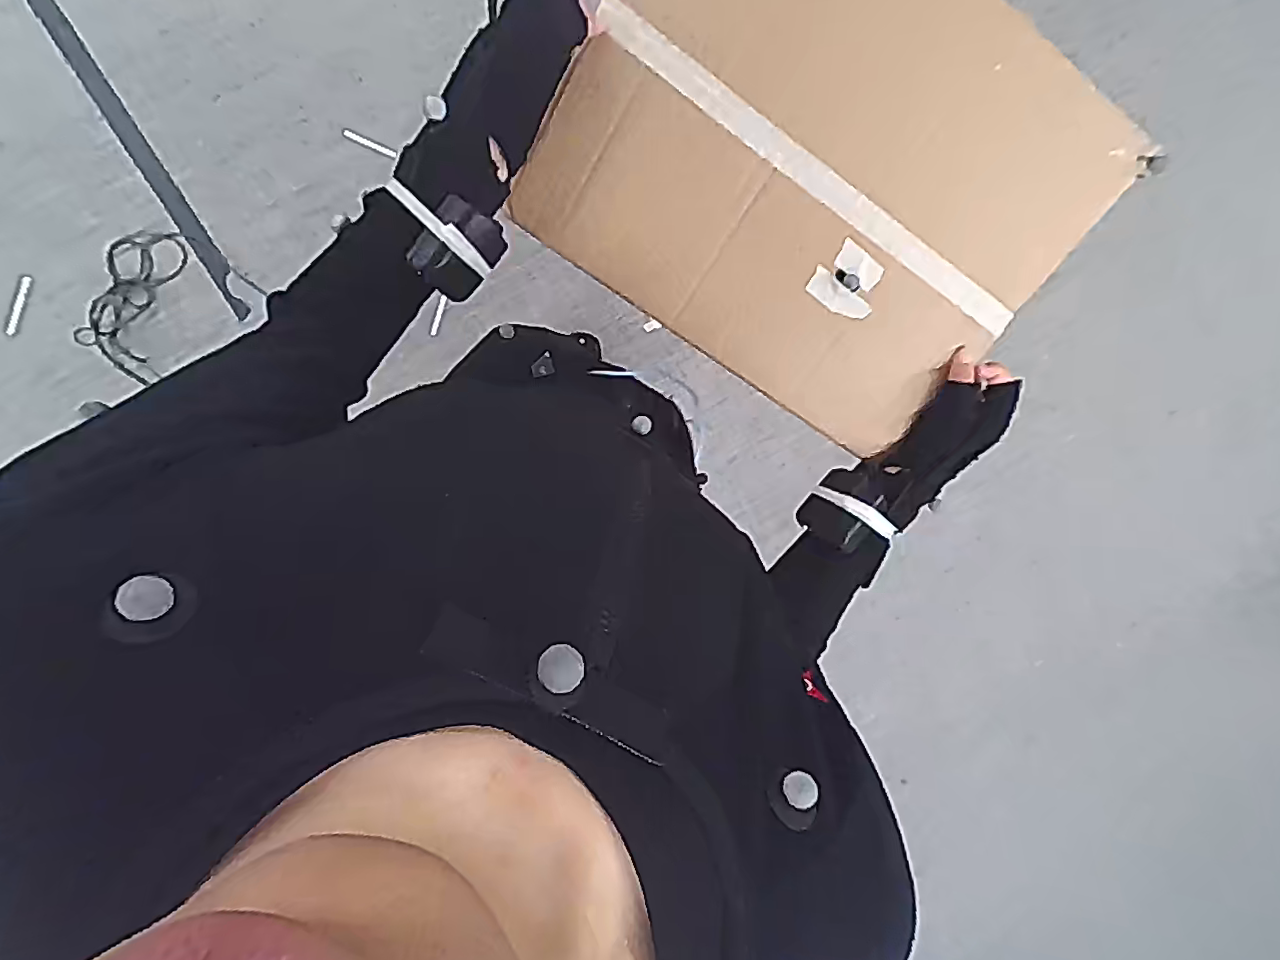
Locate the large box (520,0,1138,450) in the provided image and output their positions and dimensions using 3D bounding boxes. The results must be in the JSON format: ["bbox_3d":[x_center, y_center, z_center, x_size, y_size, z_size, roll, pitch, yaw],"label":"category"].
[{"bbox_3d":[0.146,-0.300,0.571,0.408,0.320,0.320,32,111,-12],"label":"large box"}]
